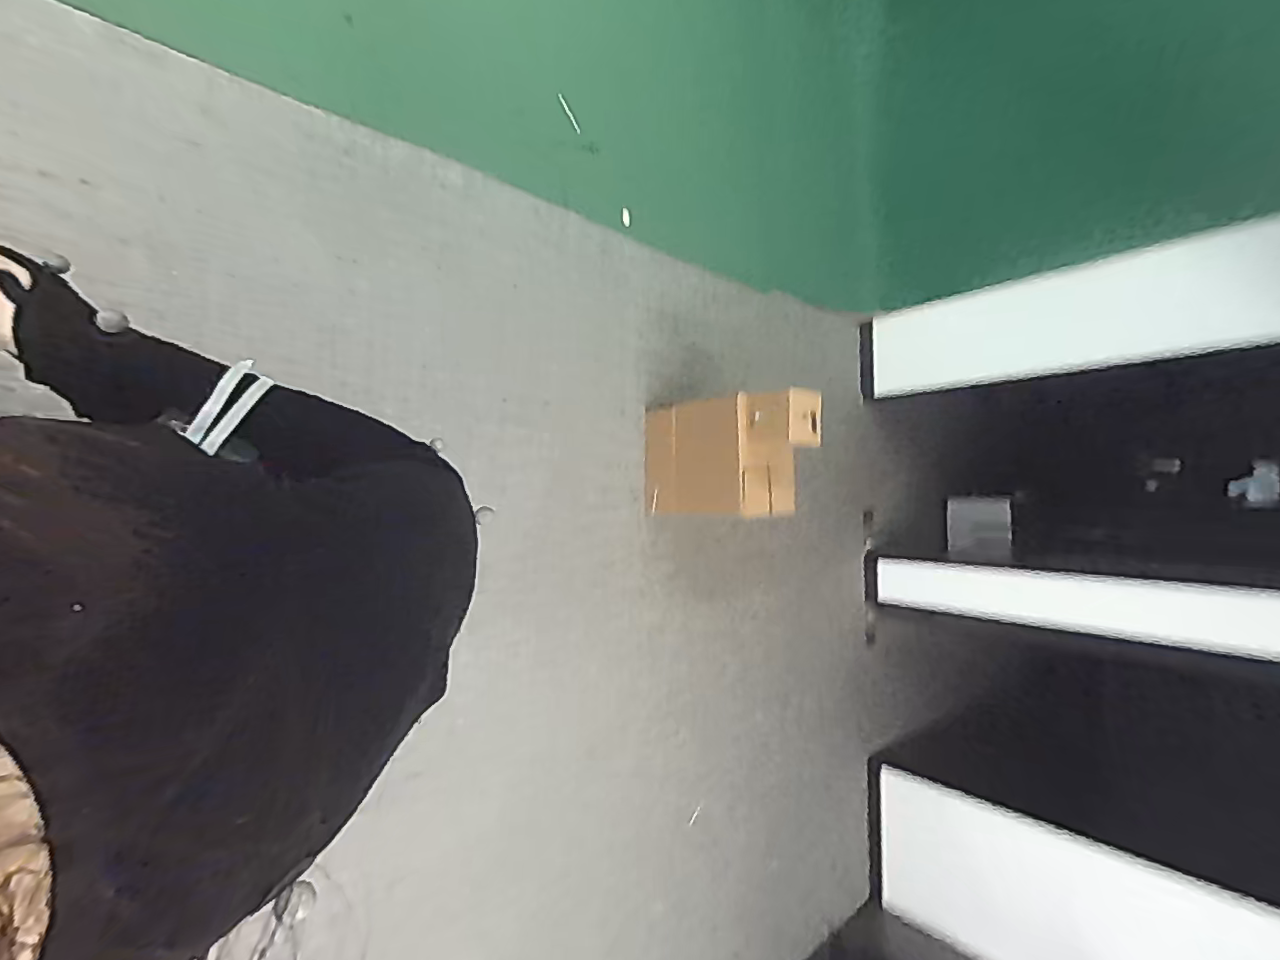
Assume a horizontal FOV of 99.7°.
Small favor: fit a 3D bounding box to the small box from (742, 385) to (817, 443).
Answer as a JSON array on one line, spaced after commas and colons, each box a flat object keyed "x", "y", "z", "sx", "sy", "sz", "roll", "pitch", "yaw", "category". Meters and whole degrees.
[{"x": 0.455, "y": -0.208, "z": 1.762, "sx": 0.179, "sy": 0.176, "sz": 0.168, "roll": 1, "pitch": 90, "yaw": -39, "category": "small box"}]
